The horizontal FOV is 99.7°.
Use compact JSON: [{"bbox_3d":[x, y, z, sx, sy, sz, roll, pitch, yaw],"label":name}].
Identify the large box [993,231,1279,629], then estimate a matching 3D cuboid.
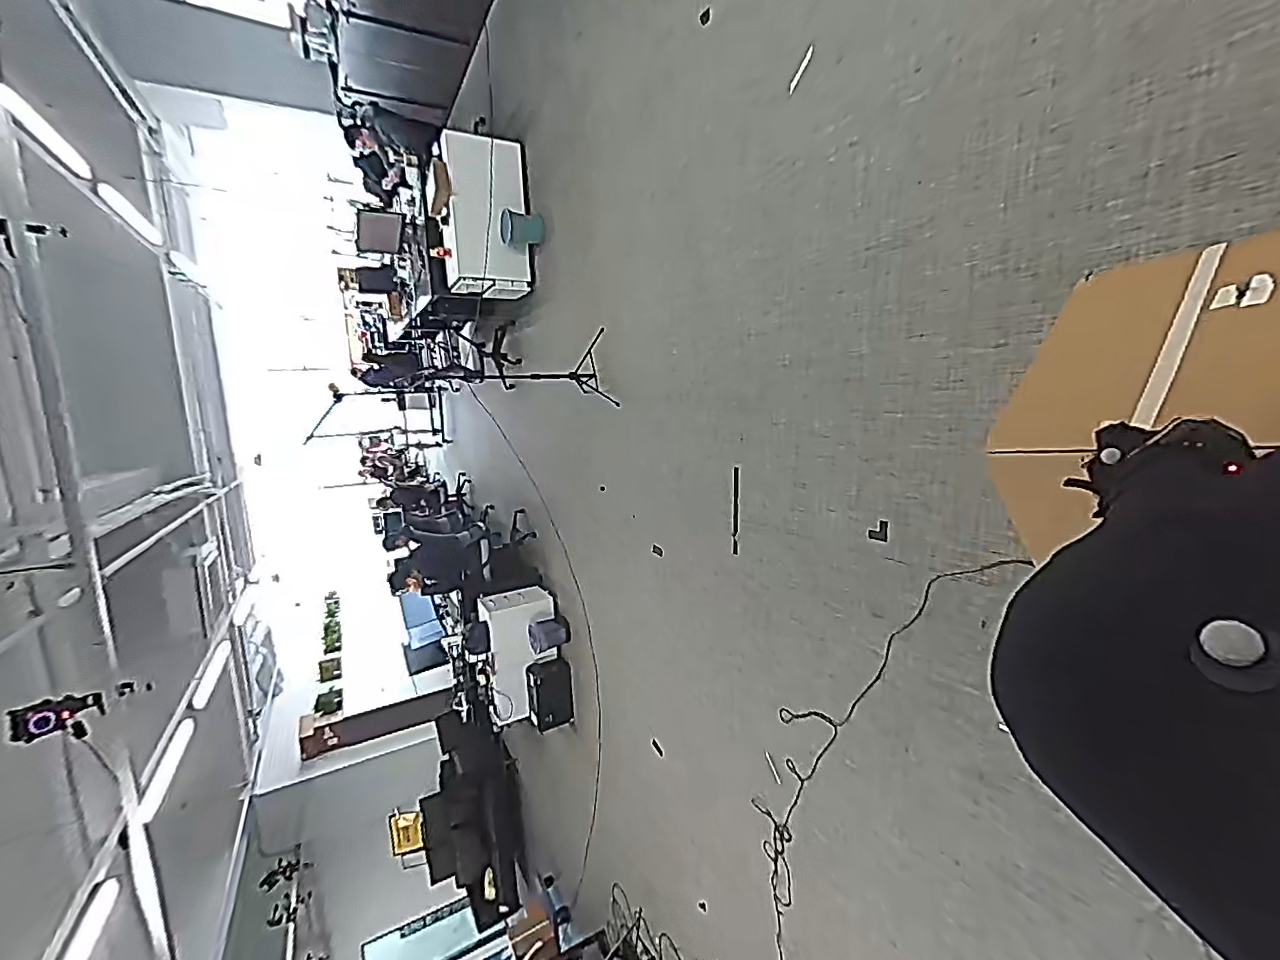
[{"bbox_3d":[0.751,-0.066,0.714,0.320,0.408,0.320,51,157,-22],"label":"large box"}]
